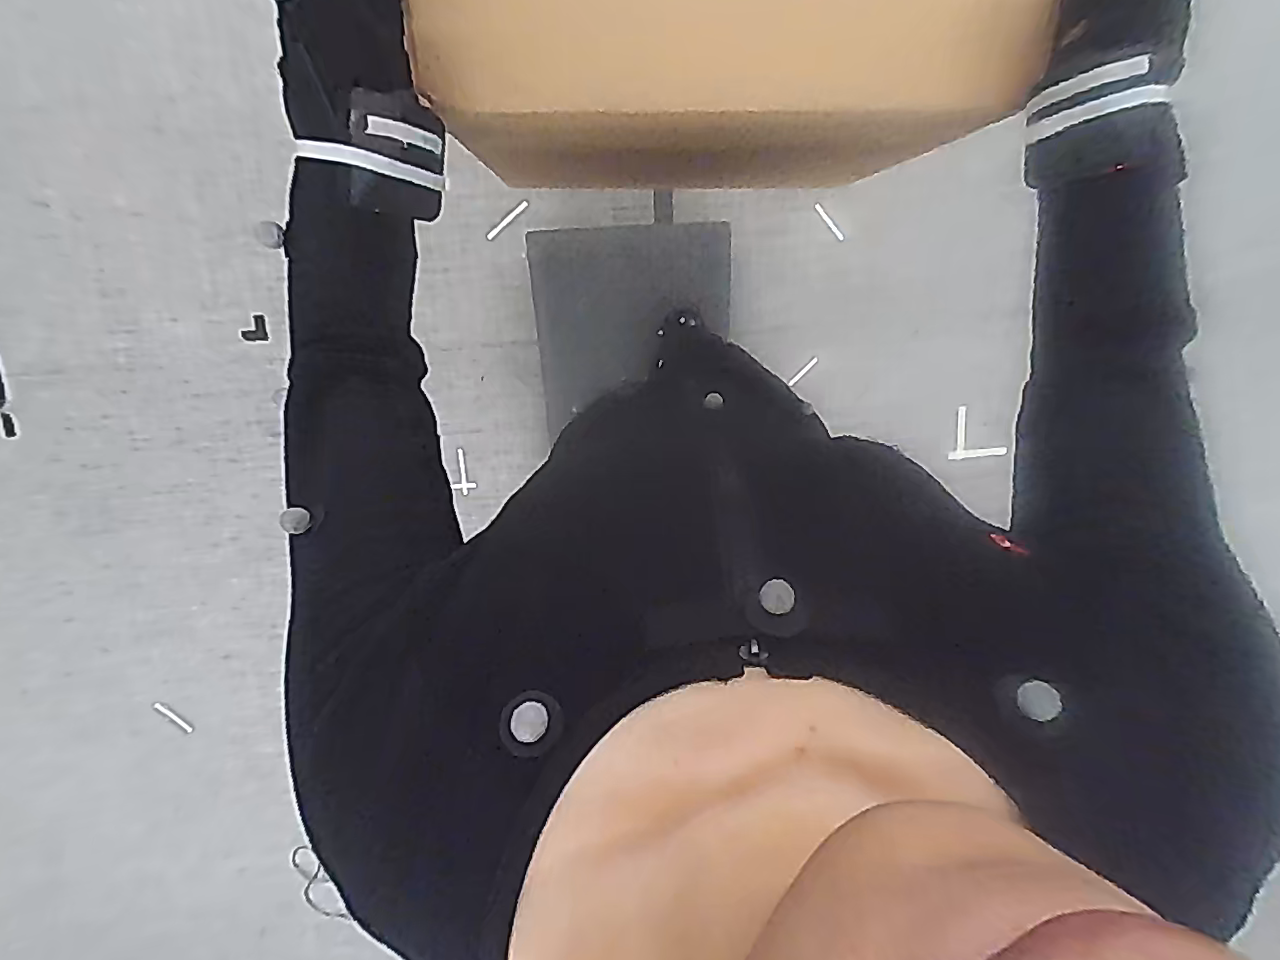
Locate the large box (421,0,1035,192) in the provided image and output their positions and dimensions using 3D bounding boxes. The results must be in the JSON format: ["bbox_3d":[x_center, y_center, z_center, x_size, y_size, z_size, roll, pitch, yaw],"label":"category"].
[{"bbox_3d":[0.048,-0.445,0.453,0.408,0.320,0.320,-2,110,-2],"label":"large box"}]
